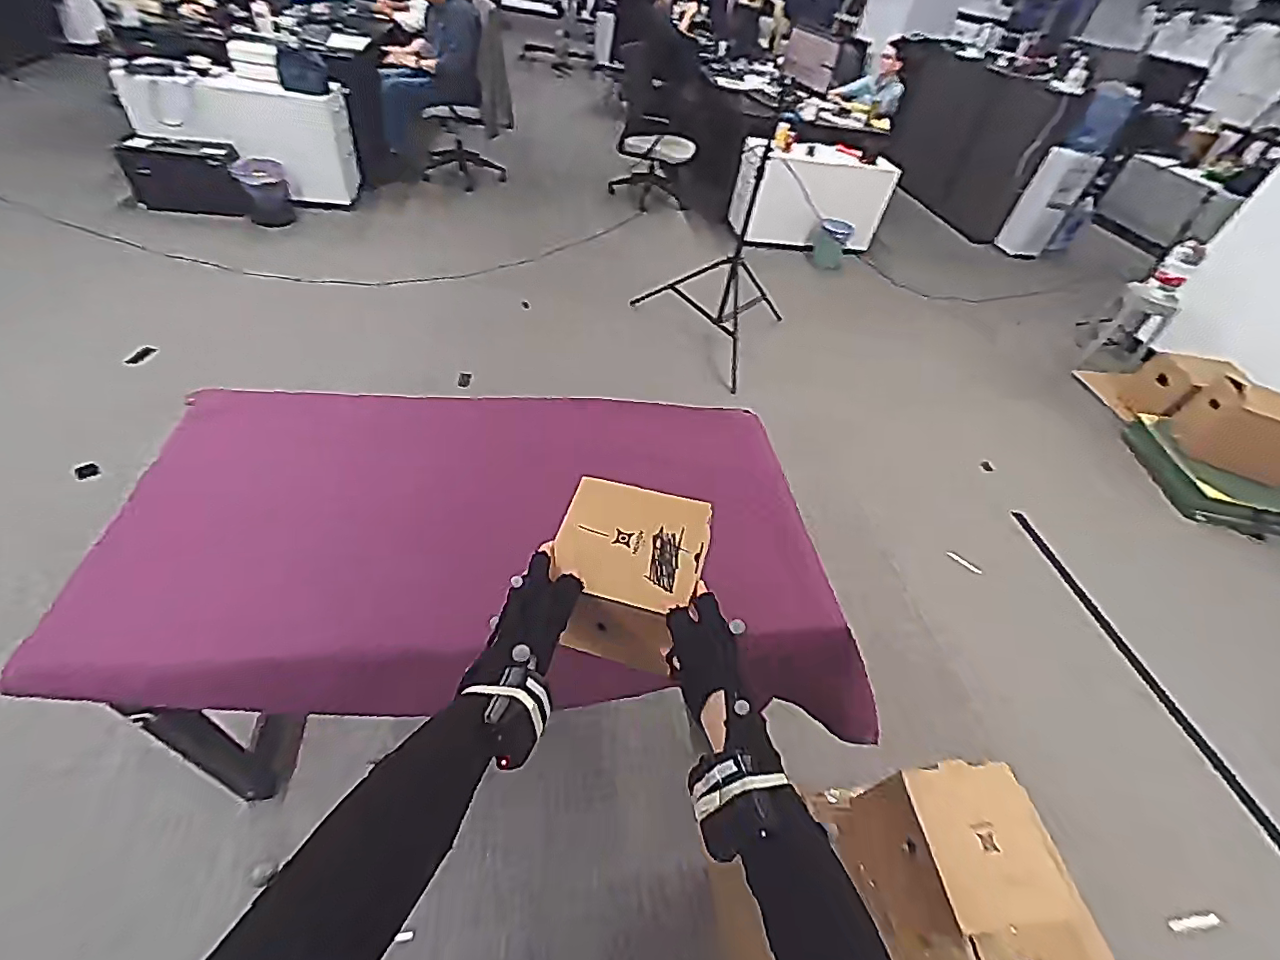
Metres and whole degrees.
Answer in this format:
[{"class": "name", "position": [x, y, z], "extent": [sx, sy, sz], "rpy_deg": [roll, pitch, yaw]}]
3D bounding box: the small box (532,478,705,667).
[{"class": "small box", "position": [-0.025, 0.127, 0.716], "extent": [0.179, 0.176, 0.168], "rpy_deg": [13, 49, 7]}]
